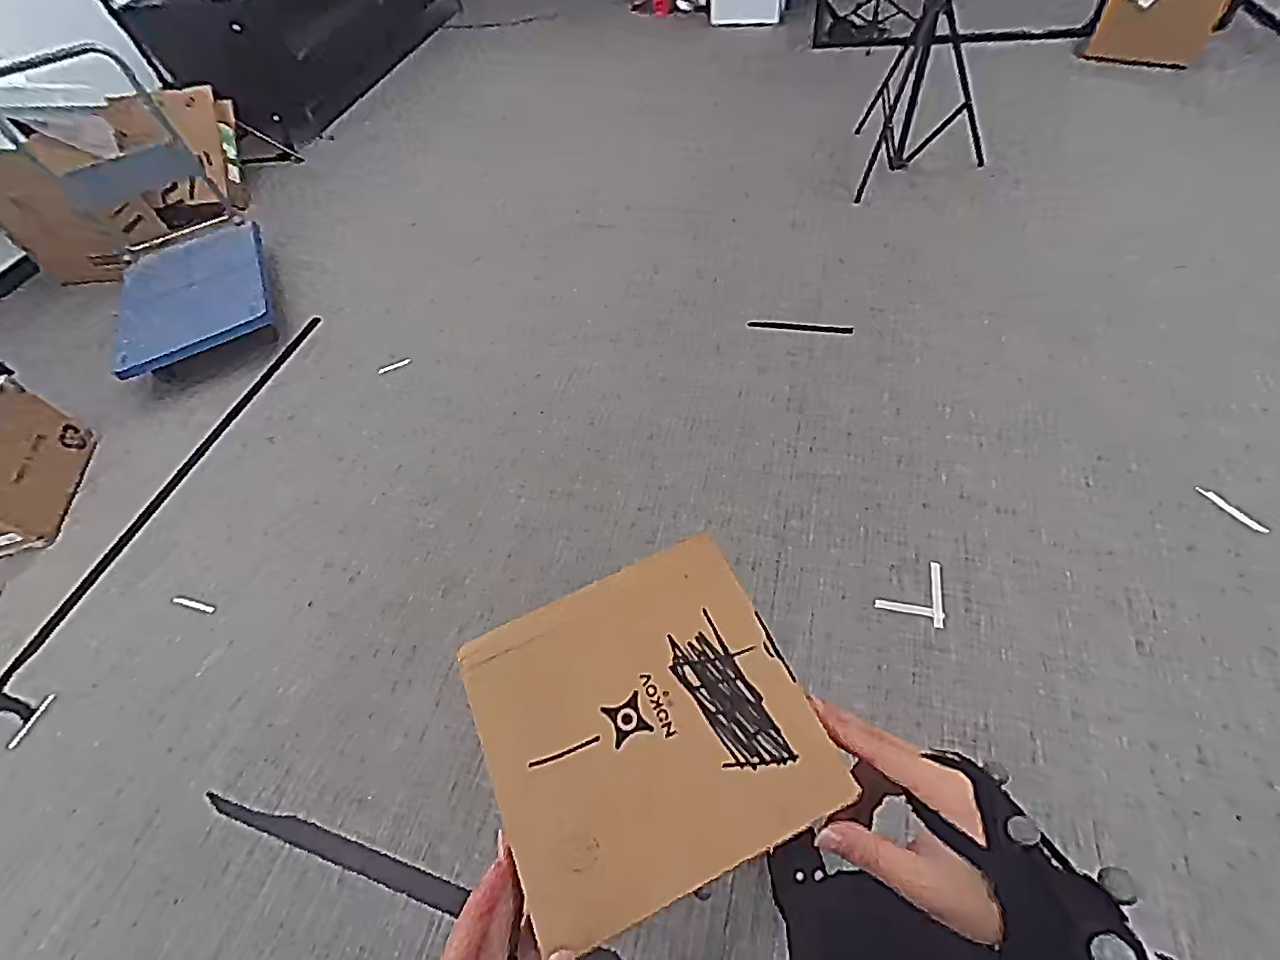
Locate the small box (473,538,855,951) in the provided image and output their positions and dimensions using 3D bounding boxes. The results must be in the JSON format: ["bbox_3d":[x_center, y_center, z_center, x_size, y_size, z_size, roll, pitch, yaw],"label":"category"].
[{"bbox_3d":[0.010,0.170,0.380,0.179,0.176,0.168,-23,62,-8],"label":"small box"}]
